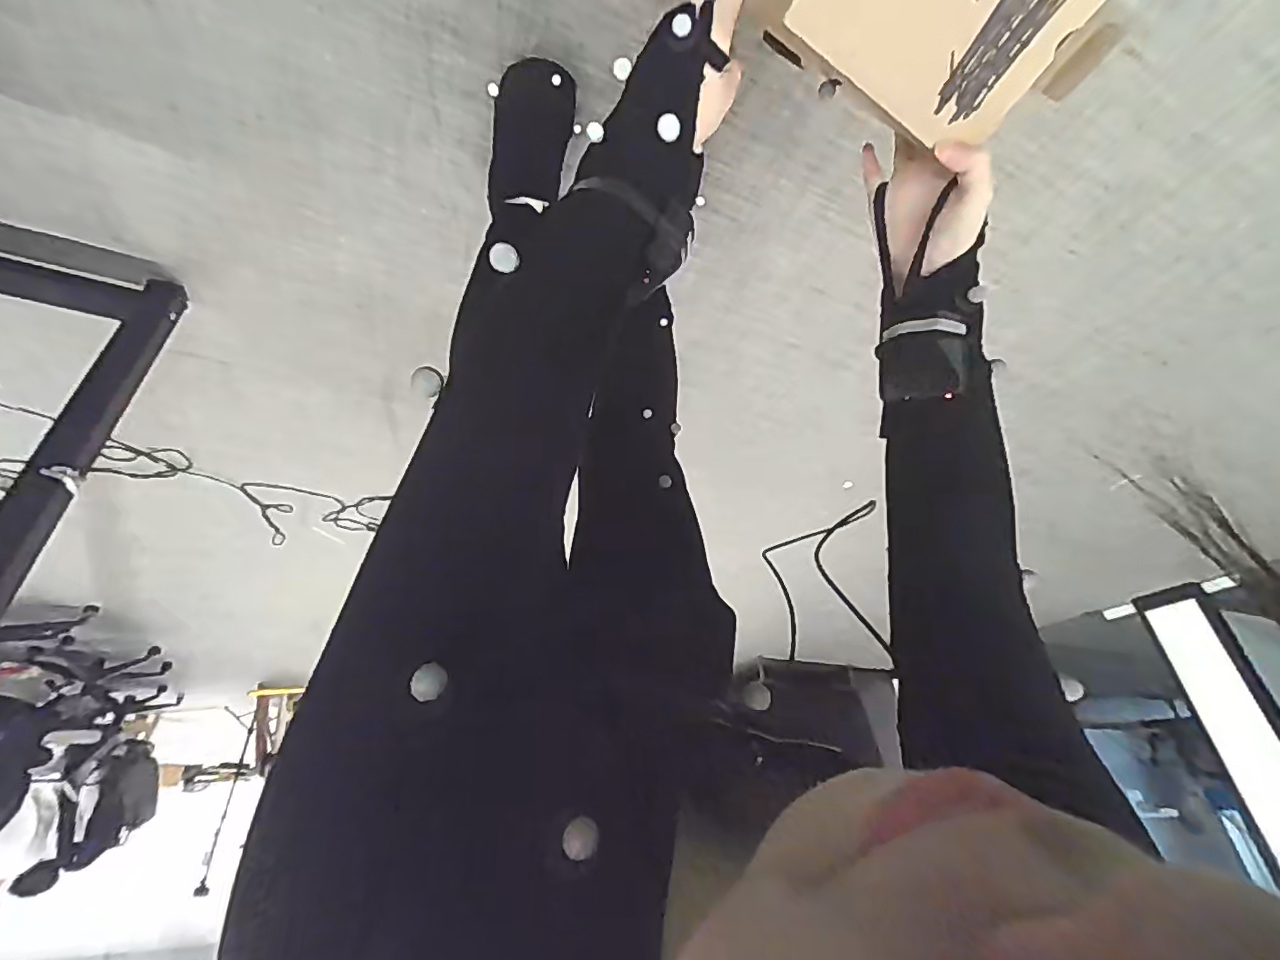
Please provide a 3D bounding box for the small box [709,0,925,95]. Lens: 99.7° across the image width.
[{"bbox_3d":[0.163,-0.487,0.455,0.168,0.176,0.179,13,144,-23],"label":"small box"}]
